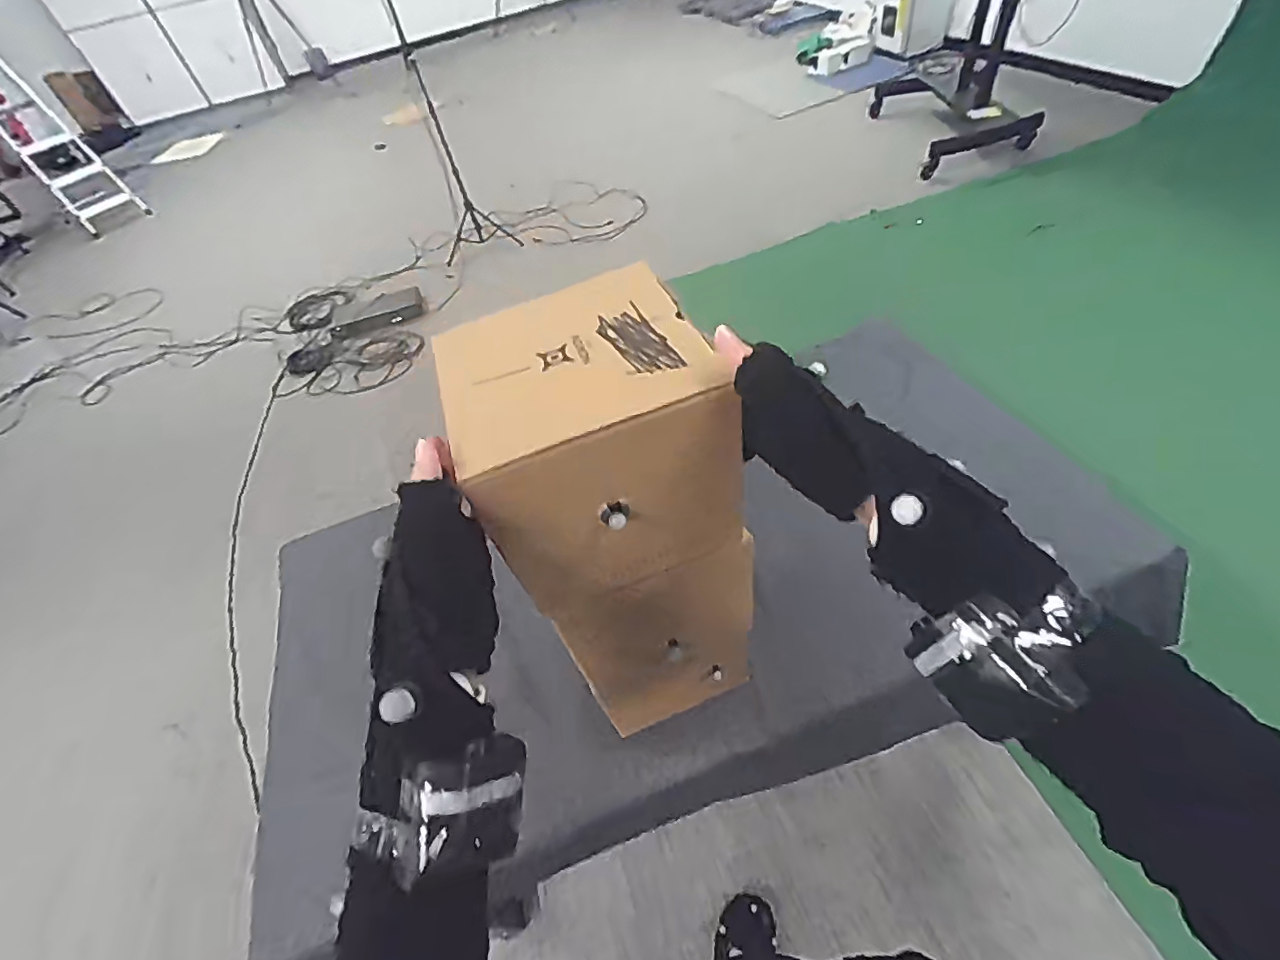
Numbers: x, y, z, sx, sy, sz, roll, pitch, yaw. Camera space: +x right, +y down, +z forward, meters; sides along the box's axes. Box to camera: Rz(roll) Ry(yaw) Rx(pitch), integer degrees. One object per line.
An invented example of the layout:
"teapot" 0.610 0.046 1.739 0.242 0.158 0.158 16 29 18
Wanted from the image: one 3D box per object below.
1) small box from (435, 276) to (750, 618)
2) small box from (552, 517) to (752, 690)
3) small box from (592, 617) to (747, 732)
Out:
"small box" -0.033 -0.024 0.423 0.179 0.176 0.168 -22 50 -9
"small box" -0.003 0.081 0.546 0.179 0.176 0.168 -21 49 -7
"small box" 0.019 0.182 0.672 0.179 0.176 0.168 -23 49 -6
